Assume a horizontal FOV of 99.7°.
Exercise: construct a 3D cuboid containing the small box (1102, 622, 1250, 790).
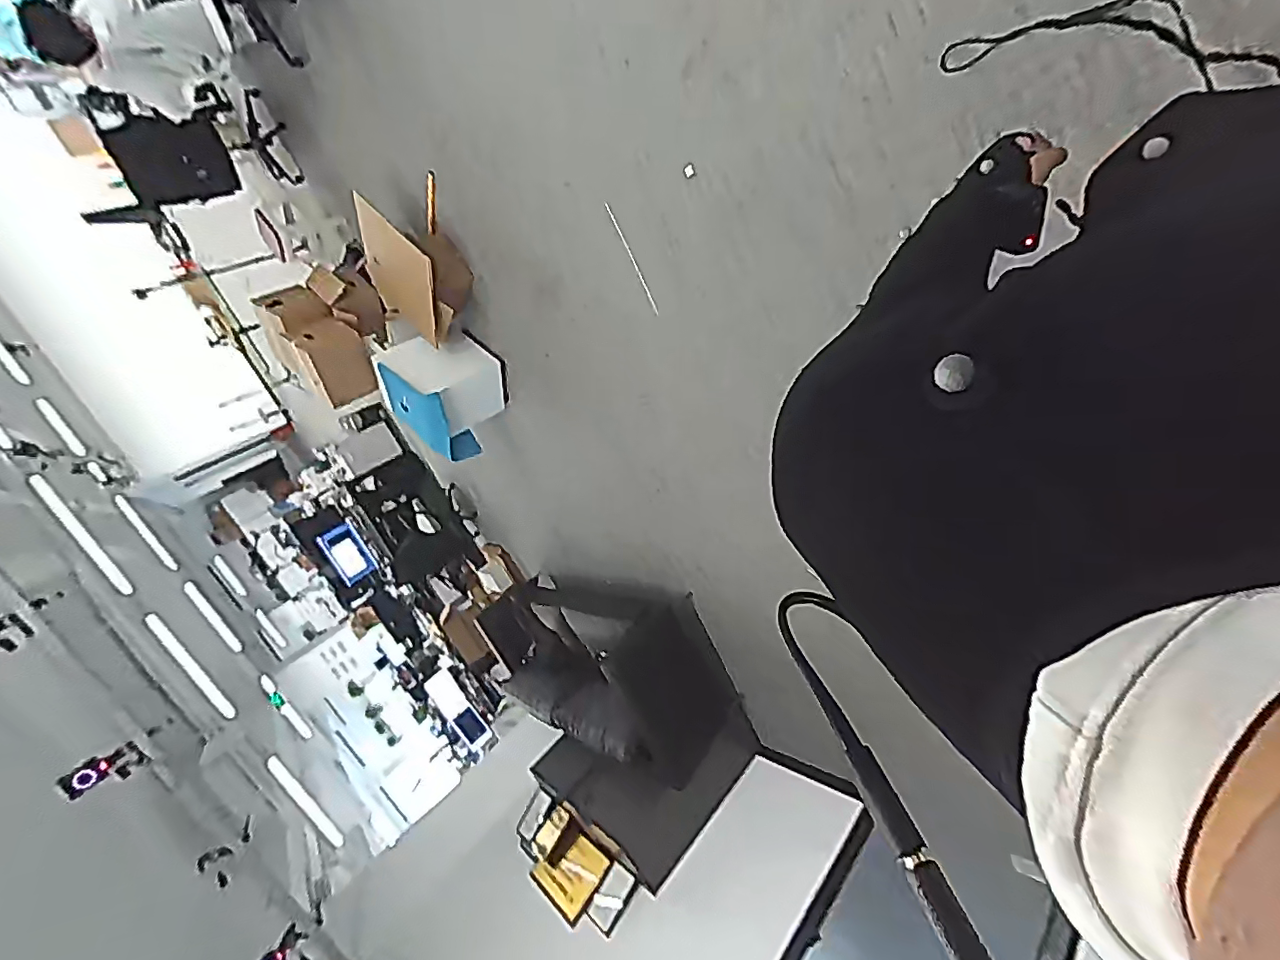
[{"bbox_3d":[0.916,0.372,0.927,0.168,0.176,0.179,4,124,50],"label":"small box"}]
